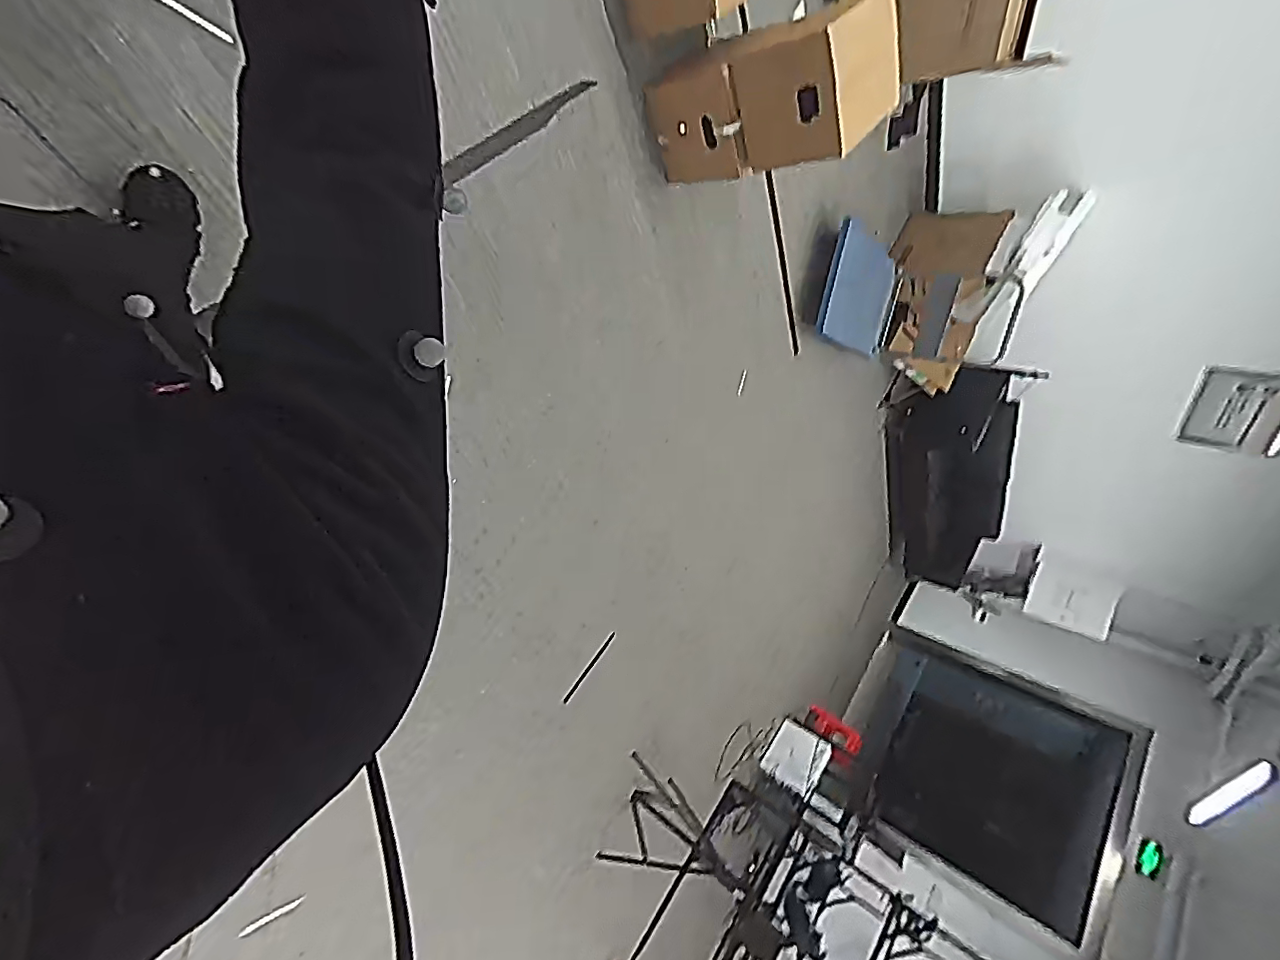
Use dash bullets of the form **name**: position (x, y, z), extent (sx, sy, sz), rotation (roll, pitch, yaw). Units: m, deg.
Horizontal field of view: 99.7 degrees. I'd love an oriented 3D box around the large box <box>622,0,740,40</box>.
- **large box**: position (0.158, -1.552, 1.552), extent (0.408, 0.320, 0.320), rotation (-50, 137, -22)
